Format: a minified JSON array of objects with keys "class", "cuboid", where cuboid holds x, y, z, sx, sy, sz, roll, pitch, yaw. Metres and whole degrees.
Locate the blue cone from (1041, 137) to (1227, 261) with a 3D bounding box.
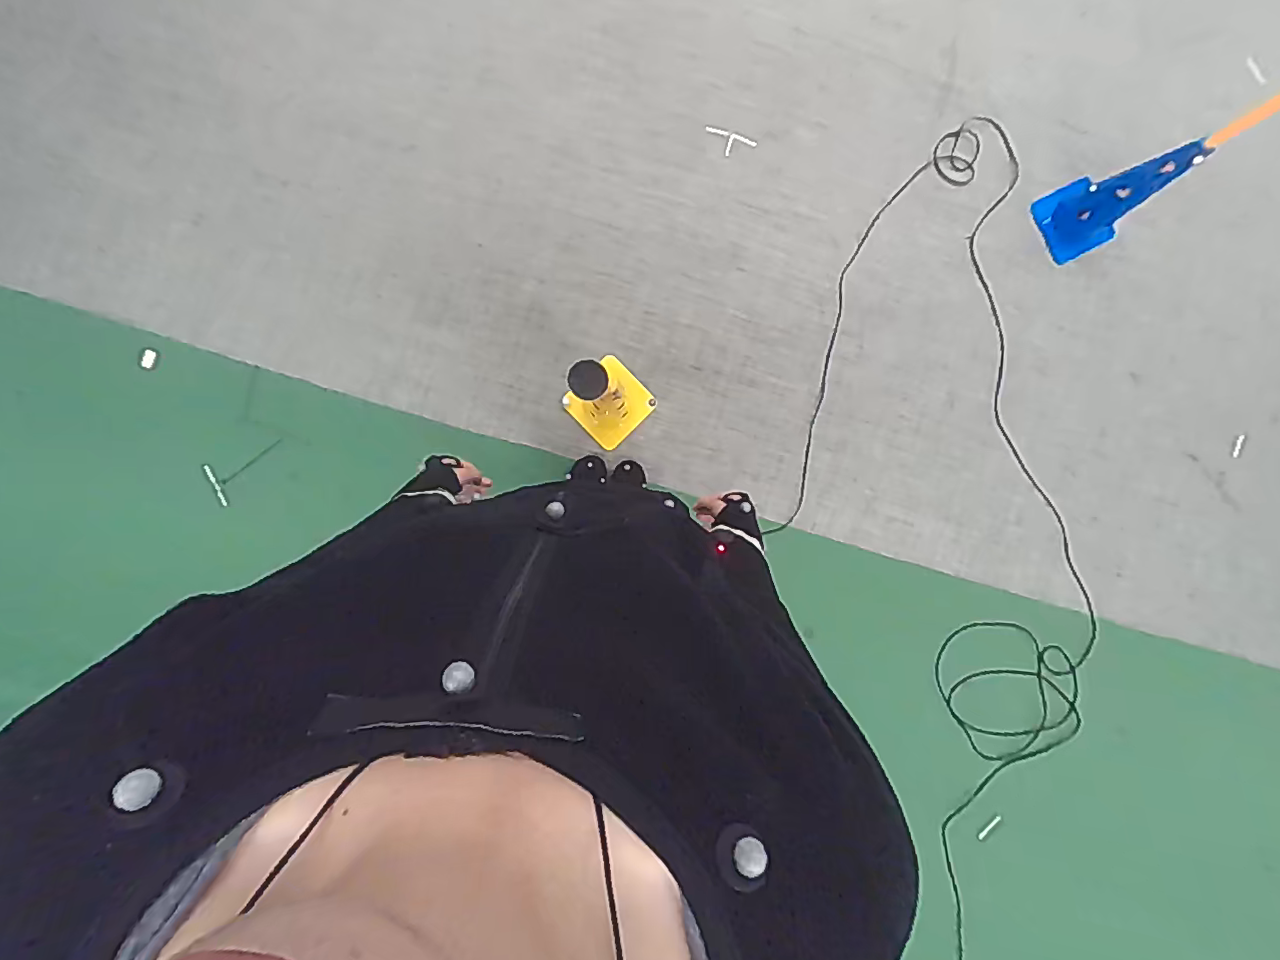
[{"class":"blue cone","cuboid":[1.264,-0.747,1.379,0.193,0.380,0.192,-29,92,-4]}]
